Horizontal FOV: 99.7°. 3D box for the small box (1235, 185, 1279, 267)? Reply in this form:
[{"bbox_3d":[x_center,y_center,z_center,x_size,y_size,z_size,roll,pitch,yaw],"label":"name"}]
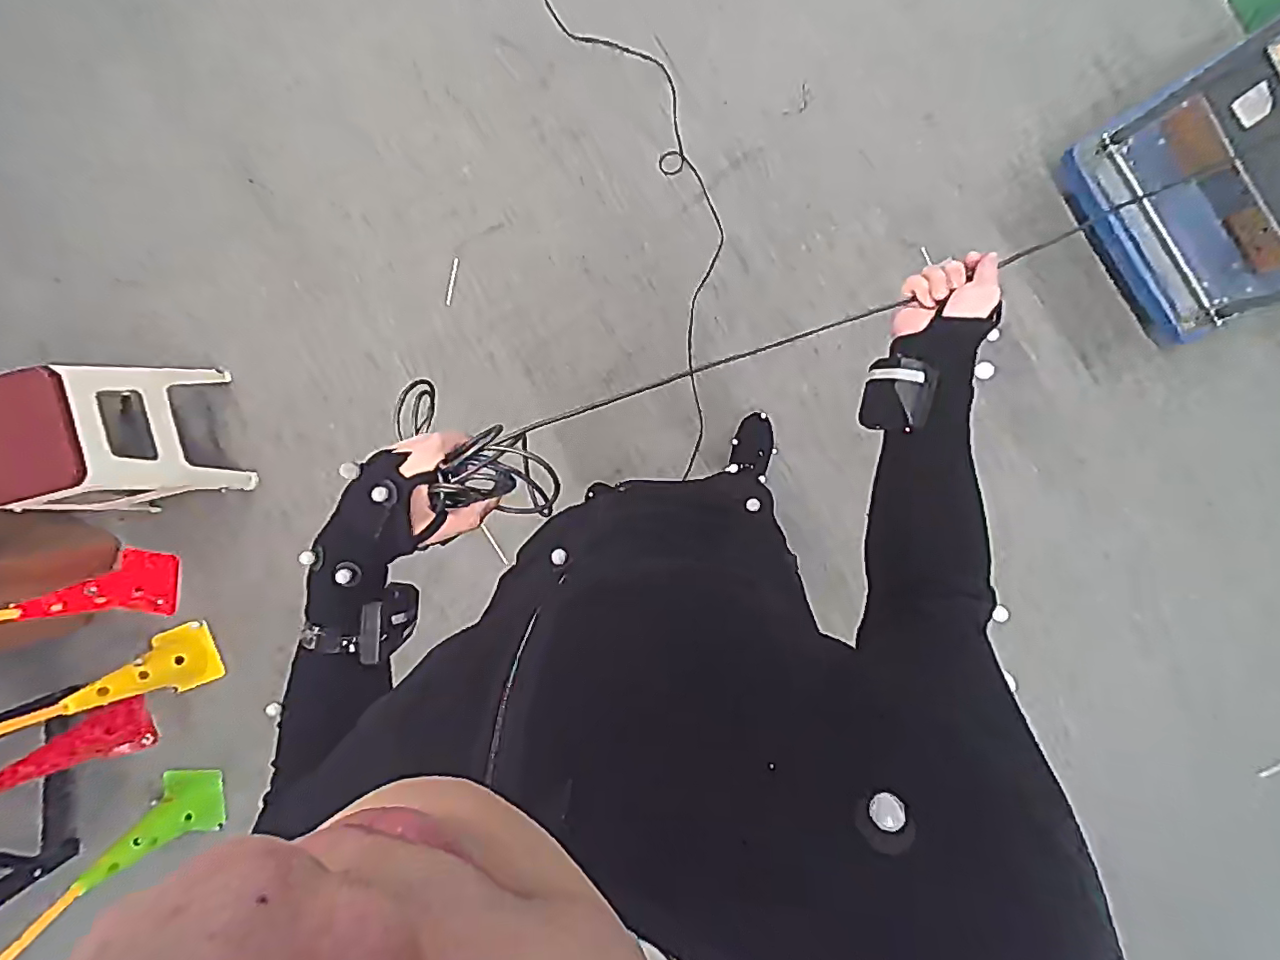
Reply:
[{"bbox_3d":[1.532,-0.613,1.214,0.179,0.176,0.168,-31,91,6],"label":"small box"}]
